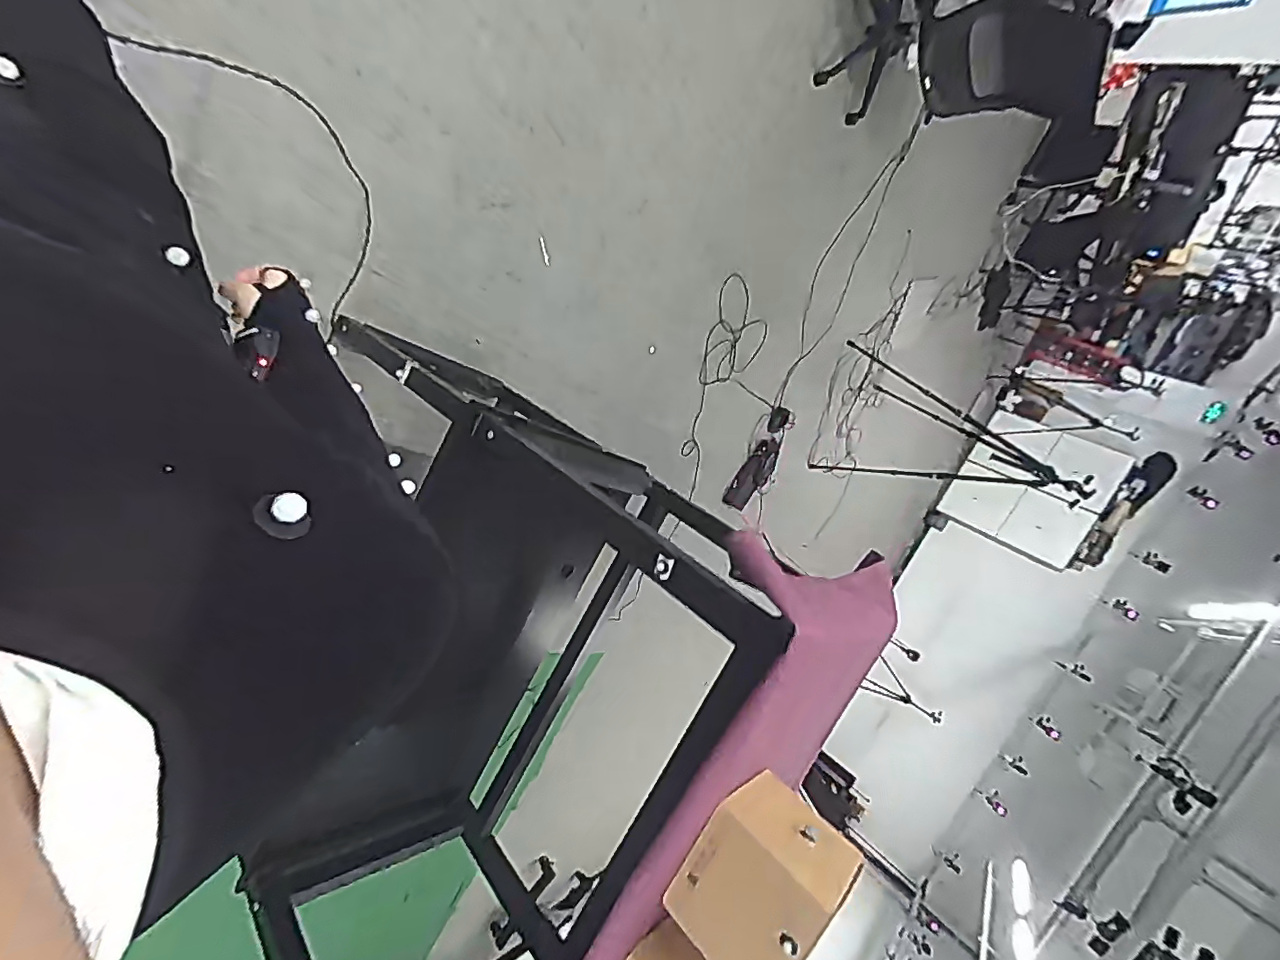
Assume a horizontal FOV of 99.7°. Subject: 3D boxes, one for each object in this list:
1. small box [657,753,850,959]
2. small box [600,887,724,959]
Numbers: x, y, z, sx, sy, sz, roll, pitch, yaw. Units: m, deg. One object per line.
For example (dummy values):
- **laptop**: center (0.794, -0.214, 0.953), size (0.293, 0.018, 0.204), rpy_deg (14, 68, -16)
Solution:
- **small box**: center (0.156, 0.513, 0.747), size (0.179, 0.176, 0.168), rpy_deg (17, 103, -56)
- **small box**: center (0.038, 0.735, 0.778), size (0.179, 0.176, 0.168), rpy_deg (20, 101, -55)
